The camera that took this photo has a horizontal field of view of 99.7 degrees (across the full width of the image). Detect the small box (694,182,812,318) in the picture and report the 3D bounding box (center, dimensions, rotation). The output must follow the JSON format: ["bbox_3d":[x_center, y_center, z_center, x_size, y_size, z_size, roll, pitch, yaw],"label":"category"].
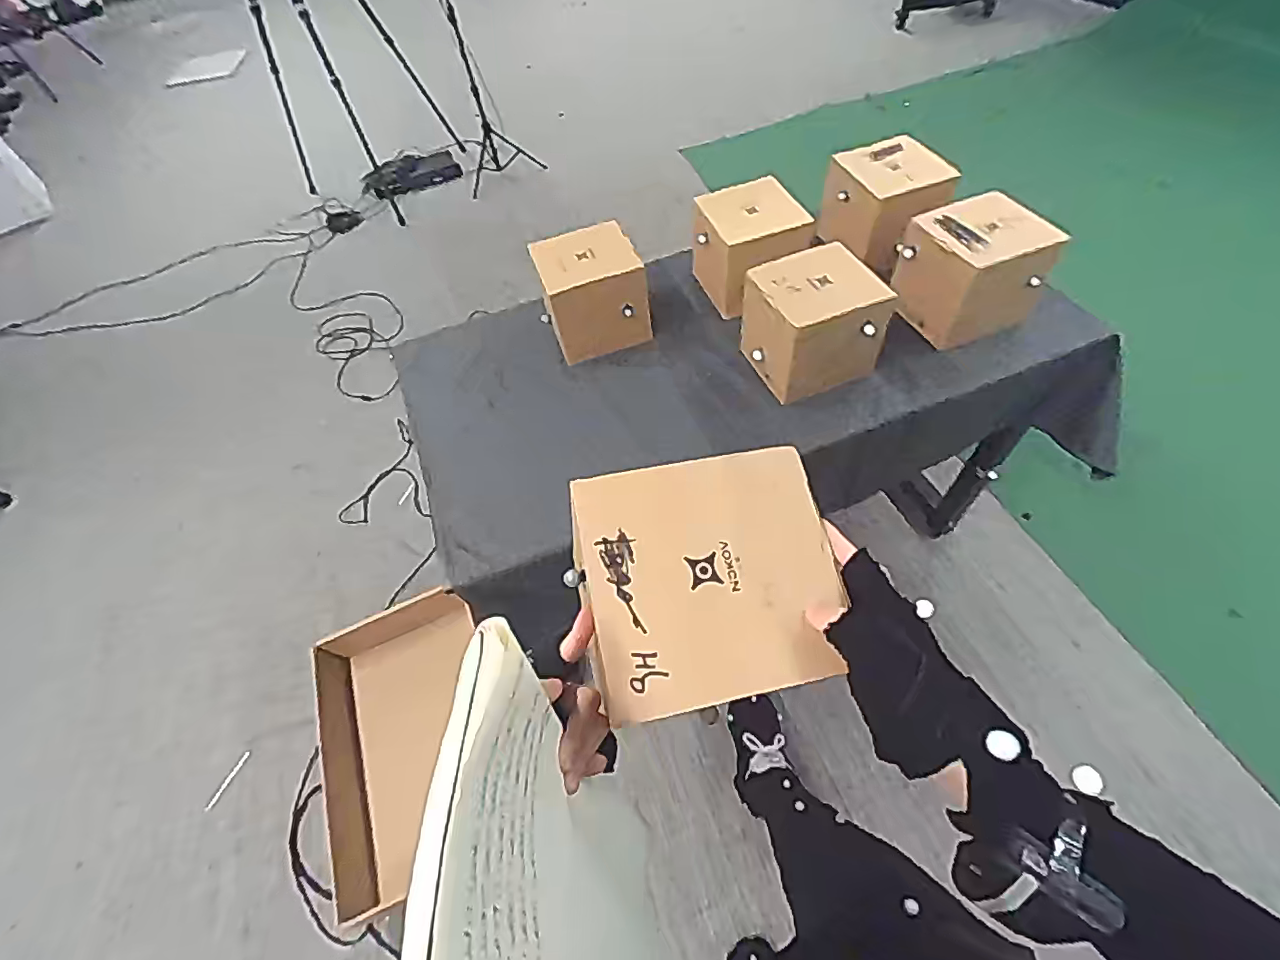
[{"bbox_3d":[0.214,-0.440,1.058,0.168,0.176,0.179,-18,55,-5],"label":"small box"}]

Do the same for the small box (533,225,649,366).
[{"bbox_3d":[-0.088,-0.346,1.027,0.179,0.176,0.168,-18,55,-7],"label":"small box"}]

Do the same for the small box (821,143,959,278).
[{"bbox_3d":[0.486,-0.536,1.085,0.168,0.176,0.179,-18,56,-5],"label":"small box"}]

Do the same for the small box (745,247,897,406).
[{"bbox_3d":[0.291,-0.255,0.916,0.179,0.176,0.168,-20,54,-6],"label":"small box"}]
